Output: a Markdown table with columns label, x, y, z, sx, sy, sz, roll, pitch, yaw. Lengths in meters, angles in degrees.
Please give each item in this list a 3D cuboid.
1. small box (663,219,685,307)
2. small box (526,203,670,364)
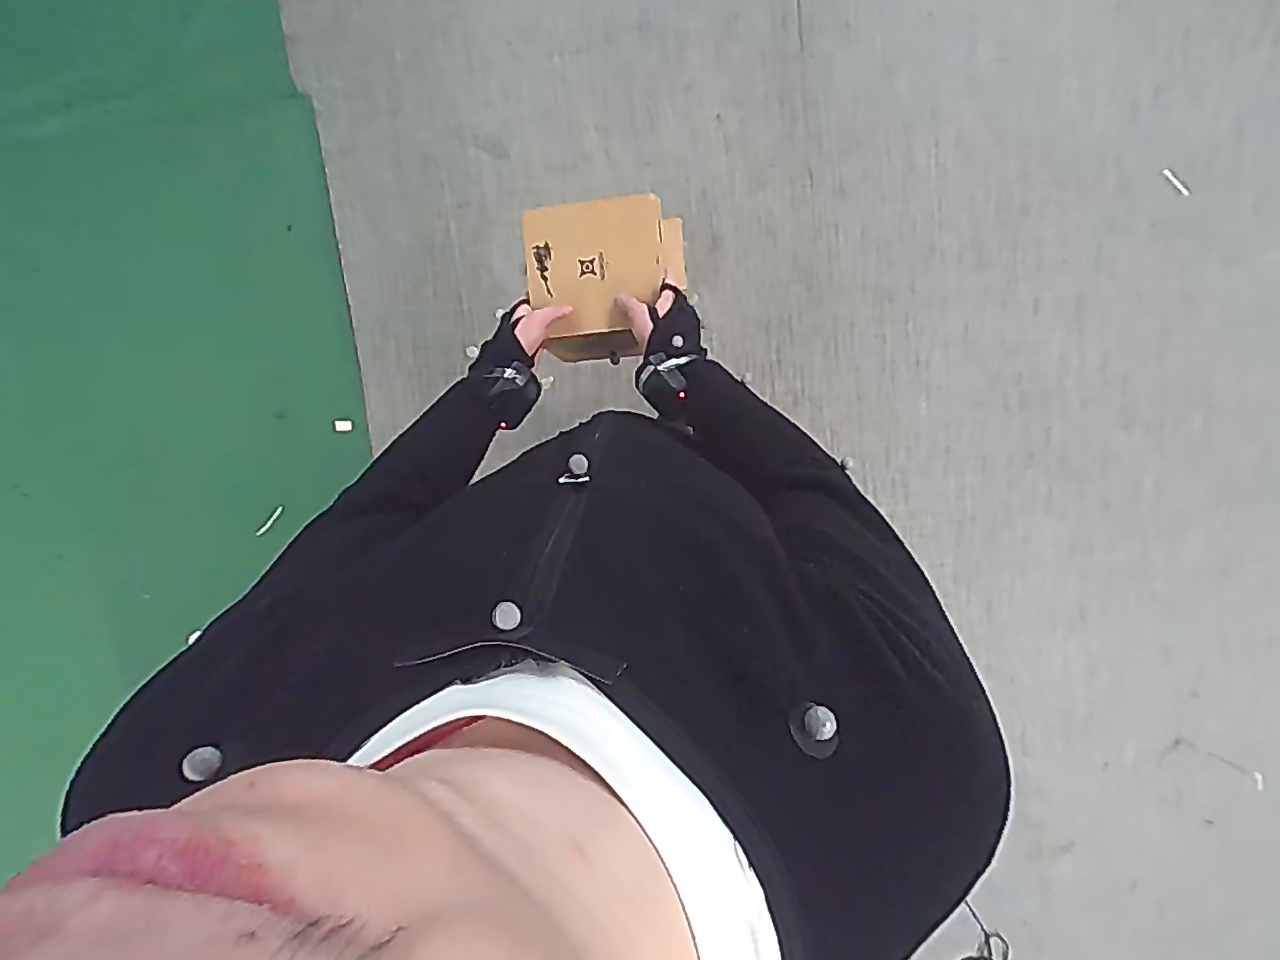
| label | x | y | z | sx | sy | sz | roll | pitch | yaw |
| --- | --- | --- | --- | --- | --- | --- | --- | --- | --- |
| small box | 0.028 | -0.556 | 1.413 | 0.168 | 0.176 | 0.179 | -4 | 97 | 4 |
| small box | -0.049 | -0.264 | 0.762 | 0.179 | 0.176 | 0.168 | -4 | 92 | 5 |
